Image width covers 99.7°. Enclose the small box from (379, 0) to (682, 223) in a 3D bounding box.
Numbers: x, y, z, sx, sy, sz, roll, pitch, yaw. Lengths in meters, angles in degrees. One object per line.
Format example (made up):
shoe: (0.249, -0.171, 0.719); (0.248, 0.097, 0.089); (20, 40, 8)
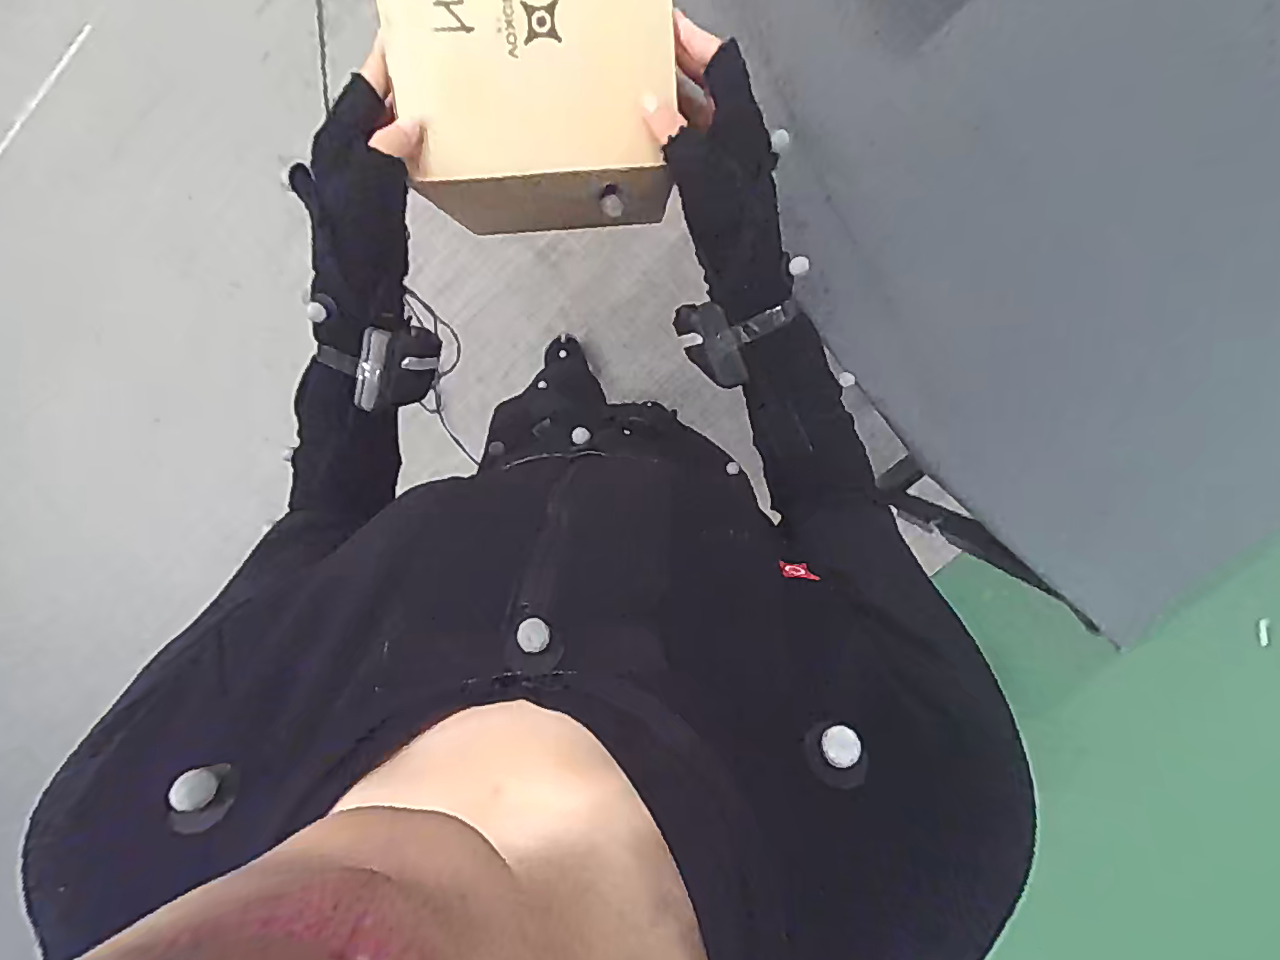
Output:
small box: (-0.067, -0.295, 0.393); (0.179, 0.176, 0.168); (-4, 104, 0)
